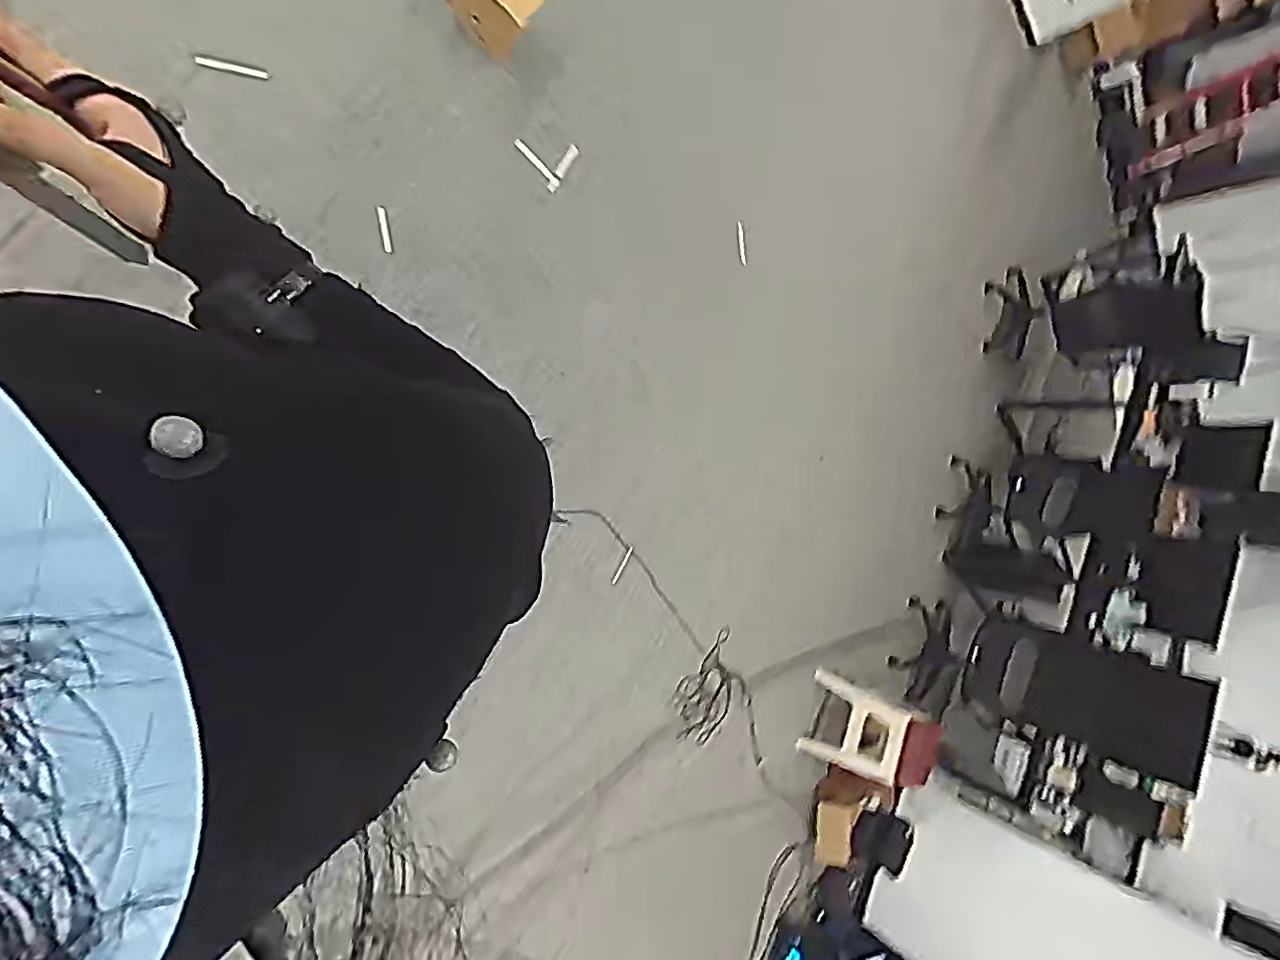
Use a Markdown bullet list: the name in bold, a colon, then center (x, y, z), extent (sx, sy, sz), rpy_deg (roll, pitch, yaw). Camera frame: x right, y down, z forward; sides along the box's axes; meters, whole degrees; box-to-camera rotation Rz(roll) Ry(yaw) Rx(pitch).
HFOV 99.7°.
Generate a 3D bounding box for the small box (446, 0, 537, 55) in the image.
- **small box**: center (-0.372, -1.265, 1.394), extent (0.168, 0.176, 0.179), rpy_deg (35, 74, -35)
